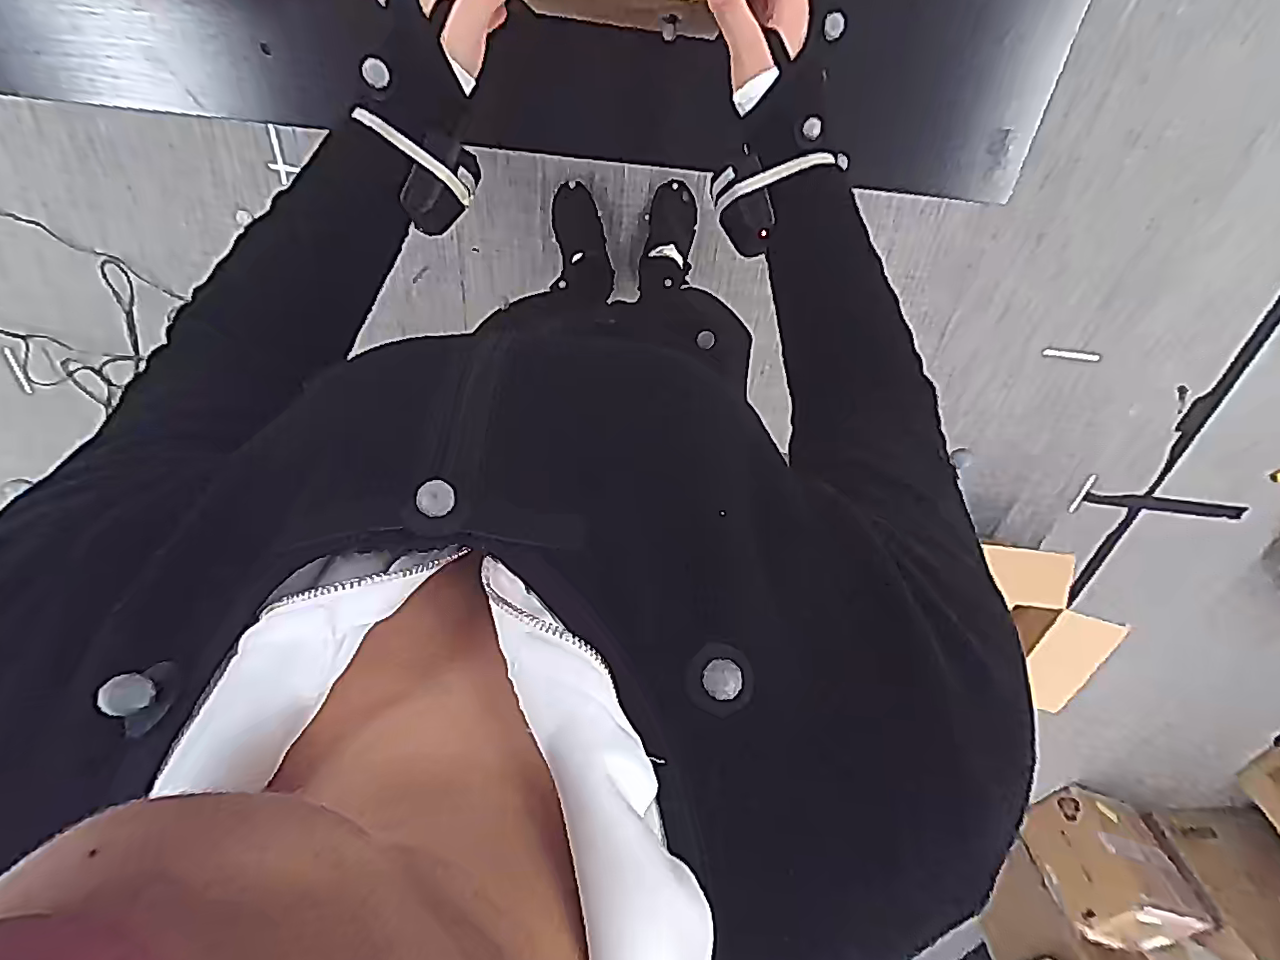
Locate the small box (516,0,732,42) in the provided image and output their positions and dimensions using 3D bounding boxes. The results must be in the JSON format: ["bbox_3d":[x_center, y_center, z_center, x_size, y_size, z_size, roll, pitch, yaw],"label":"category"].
[{"bbox_3d":[-0.010,-0.454,0.408,0.179,0.176,0.168,7,121,-1],"label":"small box"}]
